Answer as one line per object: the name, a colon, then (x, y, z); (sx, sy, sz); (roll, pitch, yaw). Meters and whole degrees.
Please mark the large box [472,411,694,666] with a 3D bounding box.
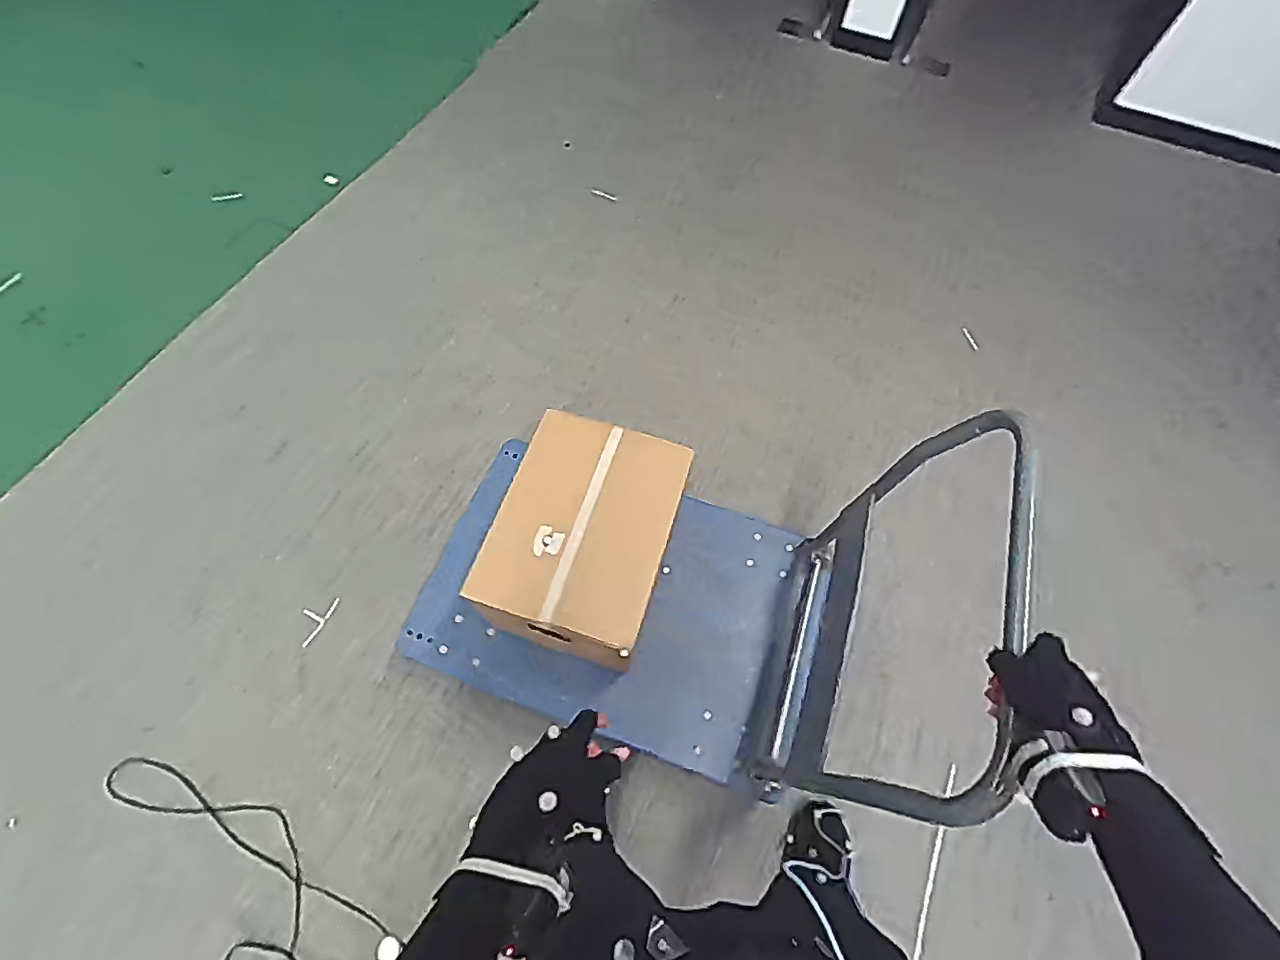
large box: (-0.098, 0.132, 1.137); (0.320, 0.320, 0.408); (17, 65, 6)
